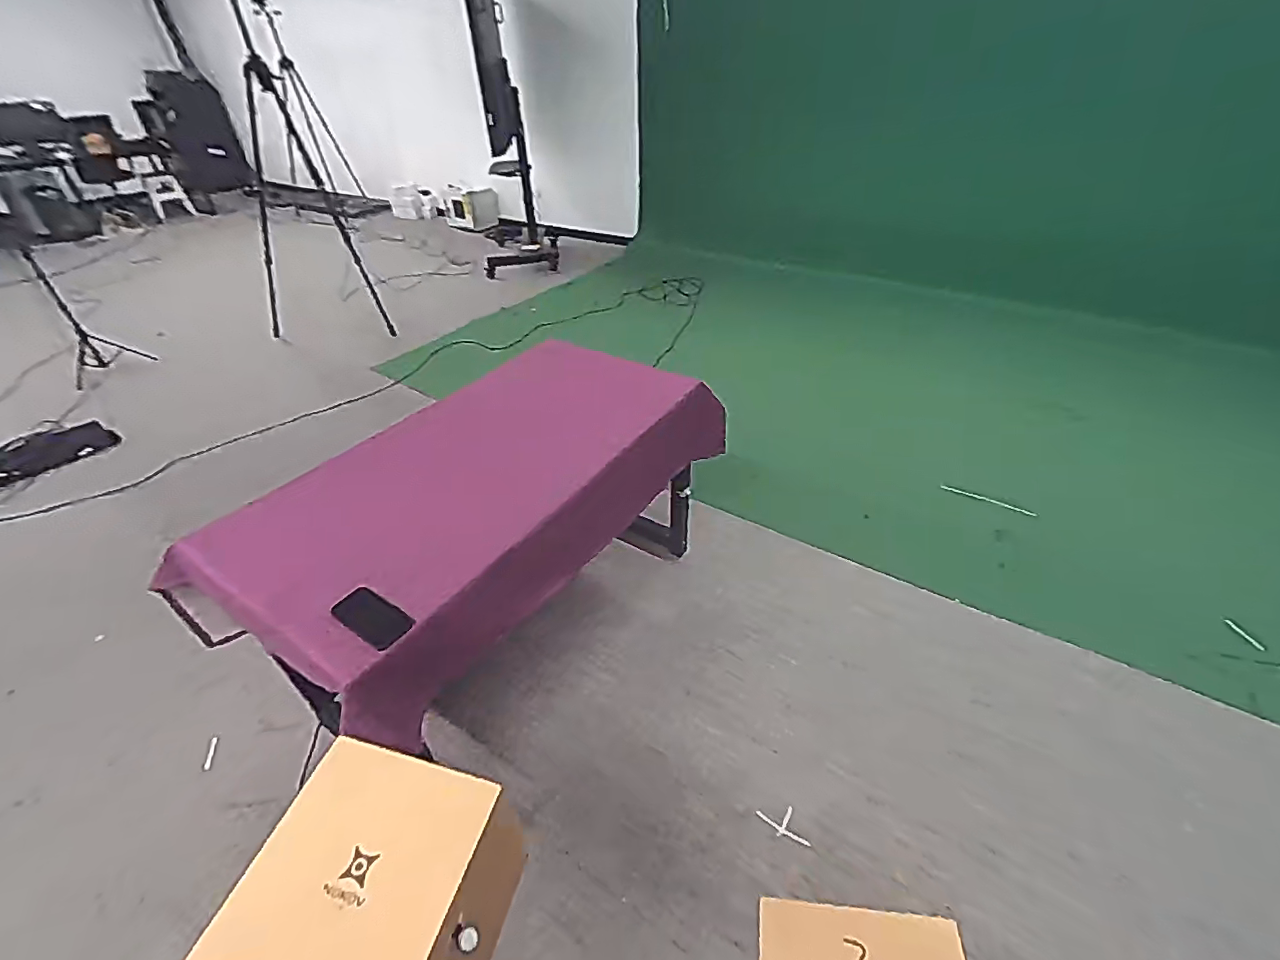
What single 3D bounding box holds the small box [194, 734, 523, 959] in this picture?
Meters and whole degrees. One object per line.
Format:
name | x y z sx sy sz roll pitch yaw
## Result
small box | -0.215 0.364 0.475 0.168 0.176 0.179 11 43 13
